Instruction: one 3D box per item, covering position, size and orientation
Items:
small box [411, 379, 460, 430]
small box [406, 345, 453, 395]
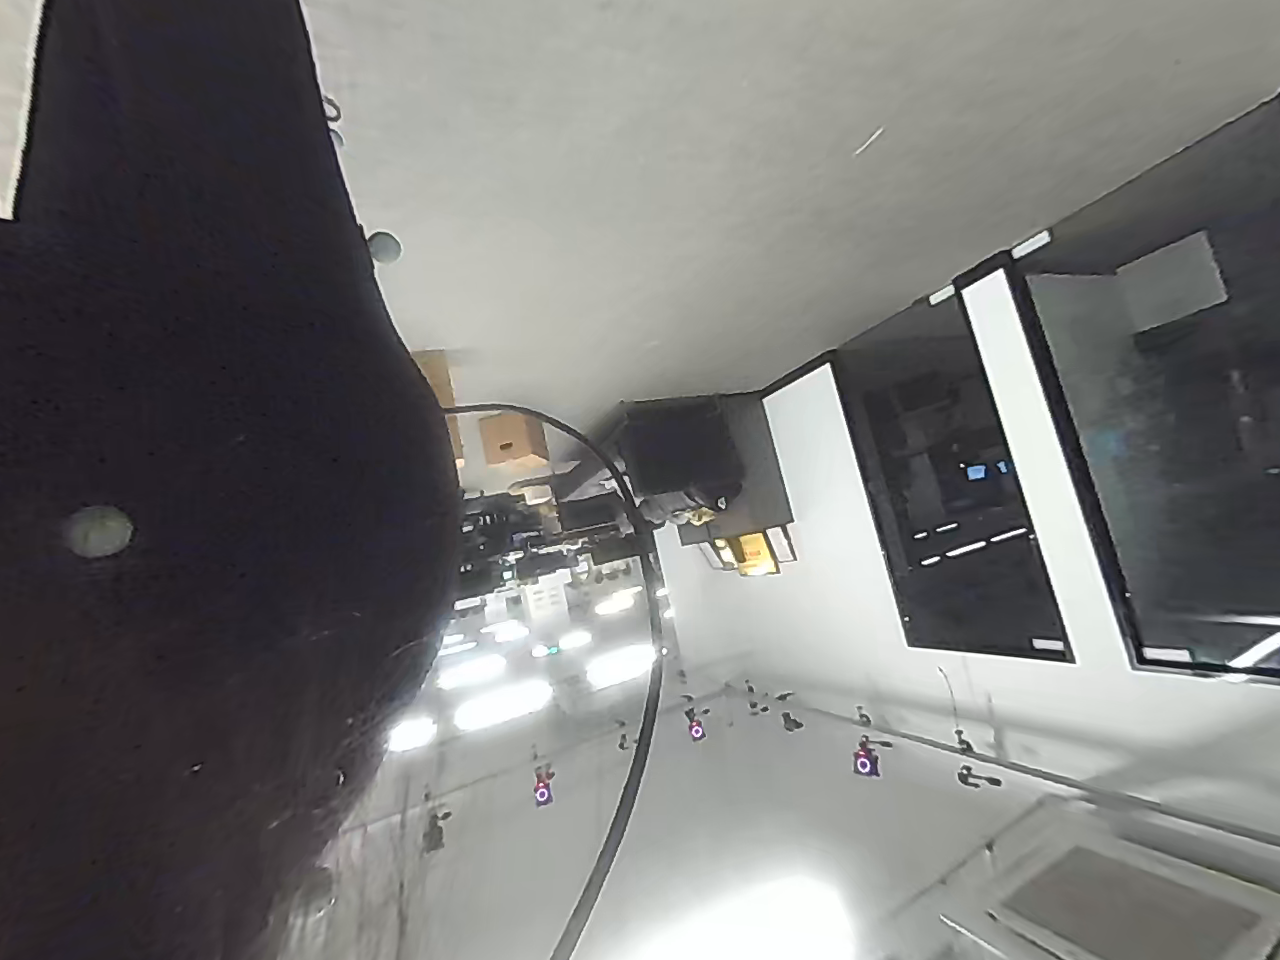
[{"bbox_3d":[-0.897,-0.330,2.368,0.179,0.176,0.168,-12,176,-21],"label":"small box"},{"bbox_3d":[-0.936,-0.487,2.395,0.179,0.176,0.168,-10,174,-23],"label":"small box"}]
